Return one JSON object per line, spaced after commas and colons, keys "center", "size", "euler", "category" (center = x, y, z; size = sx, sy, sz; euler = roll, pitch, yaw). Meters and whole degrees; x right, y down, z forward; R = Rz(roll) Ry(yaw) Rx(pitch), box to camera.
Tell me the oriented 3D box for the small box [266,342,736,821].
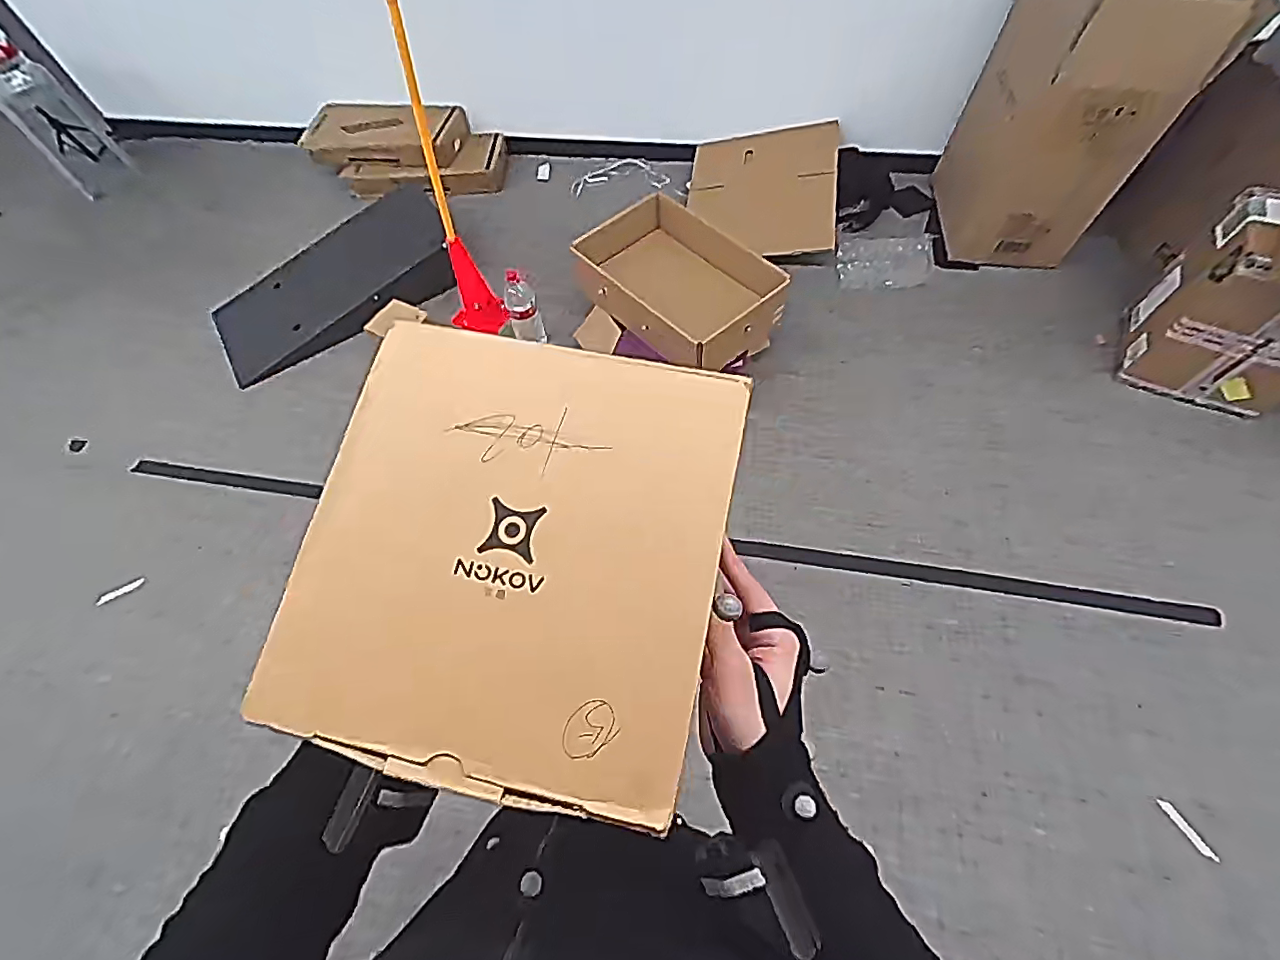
{"center": [-0.049, 0.052, 0.305], "size": [0.168, 0.176, 0.179], "euler": [11, 73, 6], "category": "small box"}
